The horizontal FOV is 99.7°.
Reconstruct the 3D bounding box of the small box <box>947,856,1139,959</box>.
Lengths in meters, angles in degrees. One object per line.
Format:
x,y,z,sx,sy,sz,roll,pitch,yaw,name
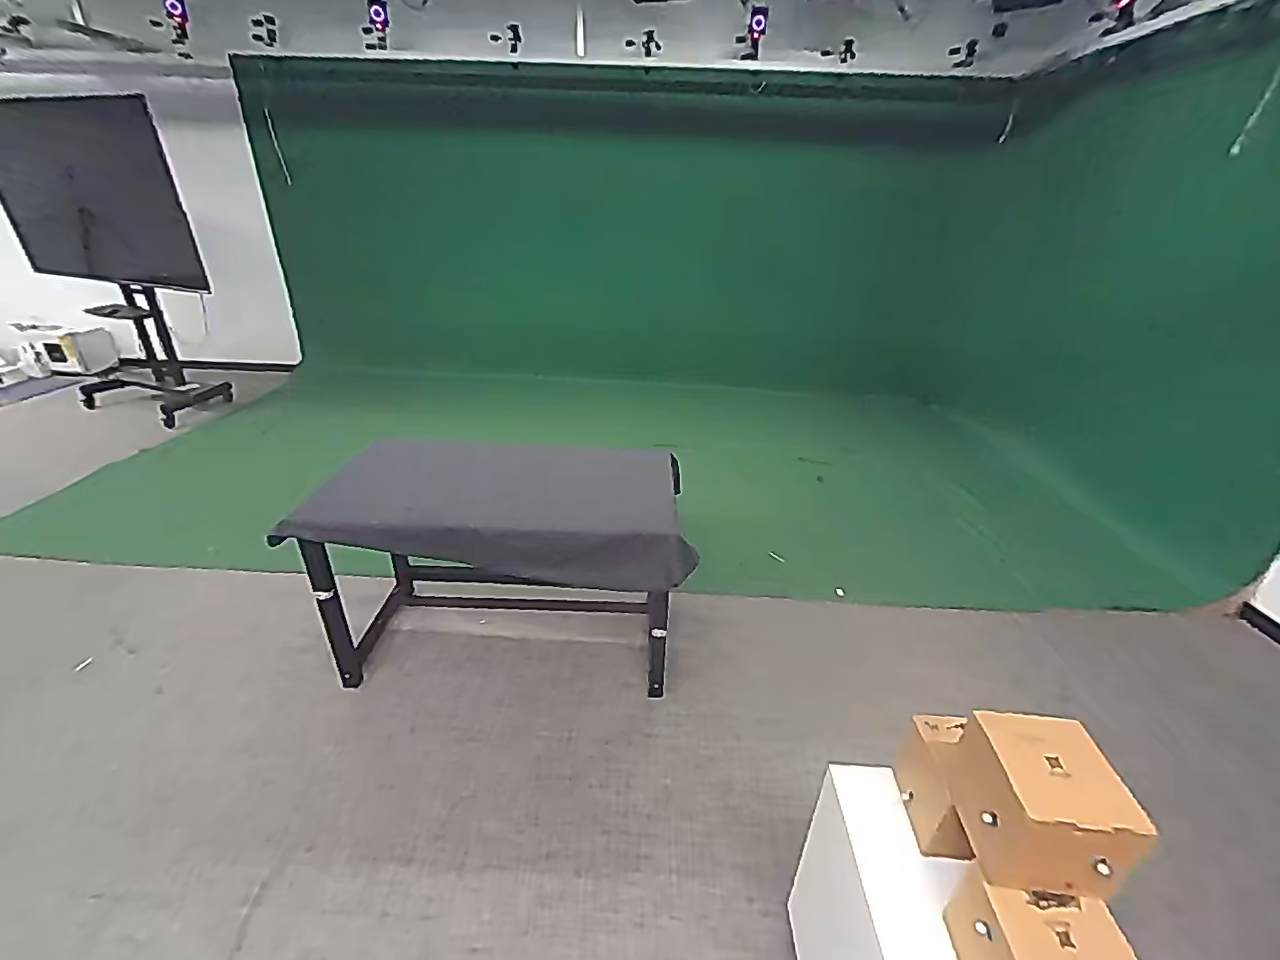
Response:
0.572,0.684,0.772,0.168,0.176,0.179,3,28,4,small box

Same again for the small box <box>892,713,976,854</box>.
0.595,0.565,1.002,0.168,0.176,0.179,3,30,2,small box

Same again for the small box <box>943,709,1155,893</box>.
0.593,0.480,0.814,0.168,0.176,0.179,4,27,3,small box
